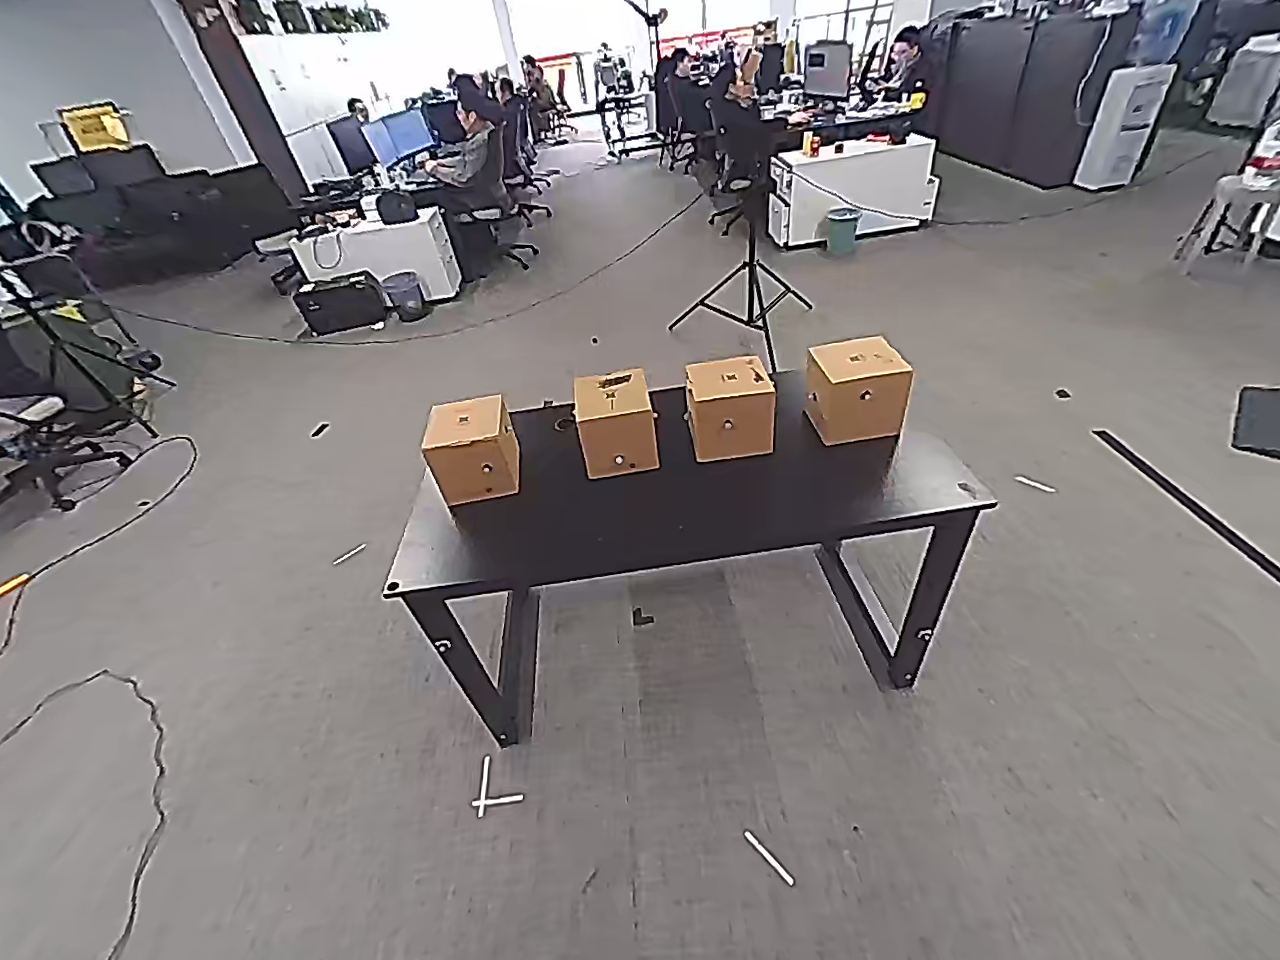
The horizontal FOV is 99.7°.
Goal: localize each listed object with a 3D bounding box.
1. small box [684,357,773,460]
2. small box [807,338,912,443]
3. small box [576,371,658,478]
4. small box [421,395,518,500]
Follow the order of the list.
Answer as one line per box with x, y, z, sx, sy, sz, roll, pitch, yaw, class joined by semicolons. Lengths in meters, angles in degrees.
0.204;-0.161;1.245;0.179;0.176;0.168;-8;40;2;small box
0.489;-0.201;1.235;0.179;0.176;0.168;-9;40;2;small box
-0.054;-0.129;1.253;0.168;0.176;0.179;-9;41;0;small box
-0.382;-0.069;1.244;0.168;0.176;0.179;-10;39;-3;small box
